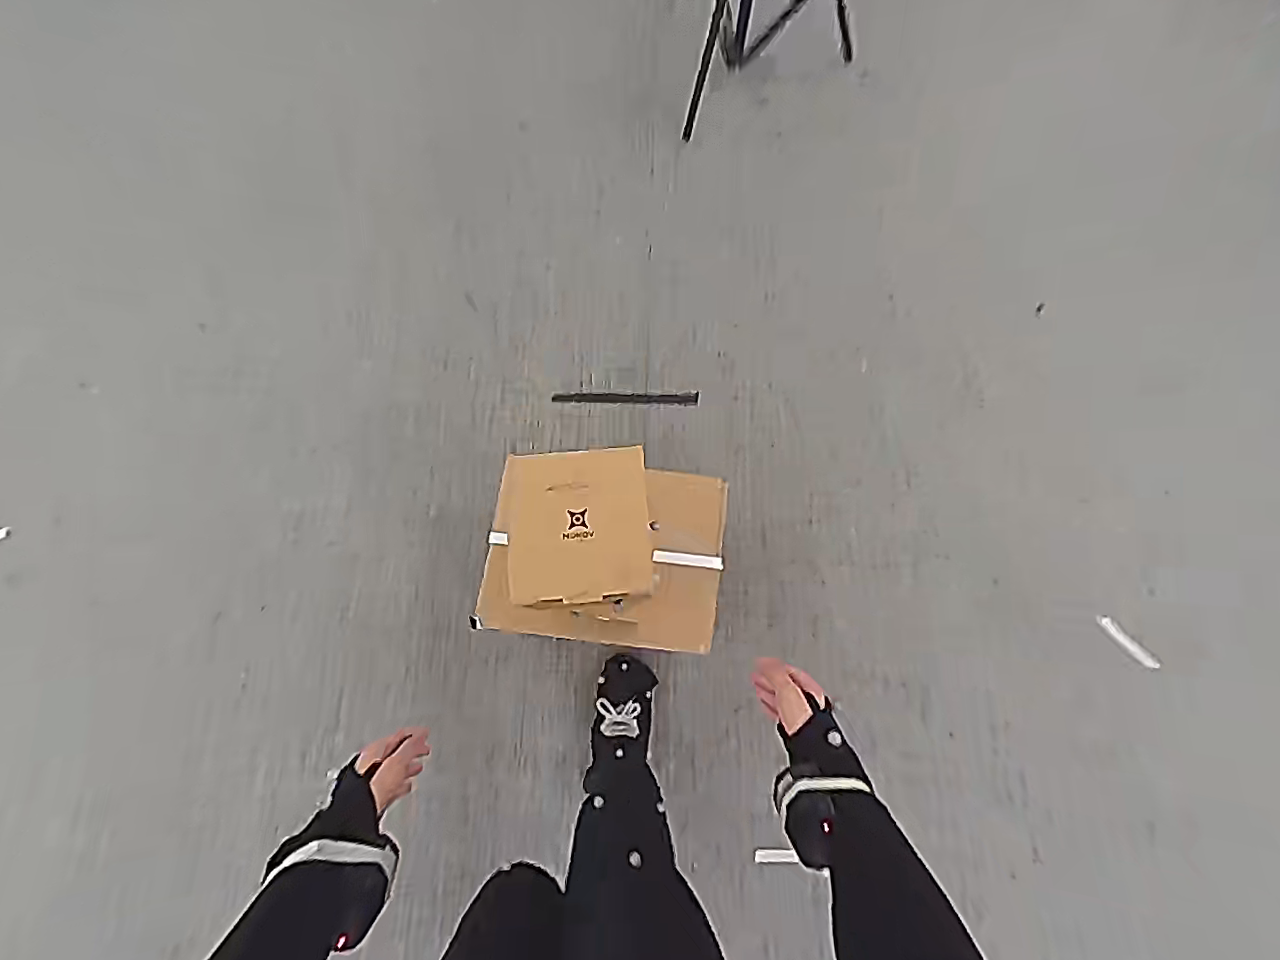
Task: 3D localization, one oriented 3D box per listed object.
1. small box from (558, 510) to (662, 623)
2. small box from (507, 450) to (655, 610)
[{"bbox_3d":[-0.068,0.129,0.851,0.179,0.176,0.168,10,76,1],"label":"small box"},{"bbox_3d":[-0.070,0.073,0.698,0.168,0.176,0.179,-5,75,-3],"label":"small box"}]
